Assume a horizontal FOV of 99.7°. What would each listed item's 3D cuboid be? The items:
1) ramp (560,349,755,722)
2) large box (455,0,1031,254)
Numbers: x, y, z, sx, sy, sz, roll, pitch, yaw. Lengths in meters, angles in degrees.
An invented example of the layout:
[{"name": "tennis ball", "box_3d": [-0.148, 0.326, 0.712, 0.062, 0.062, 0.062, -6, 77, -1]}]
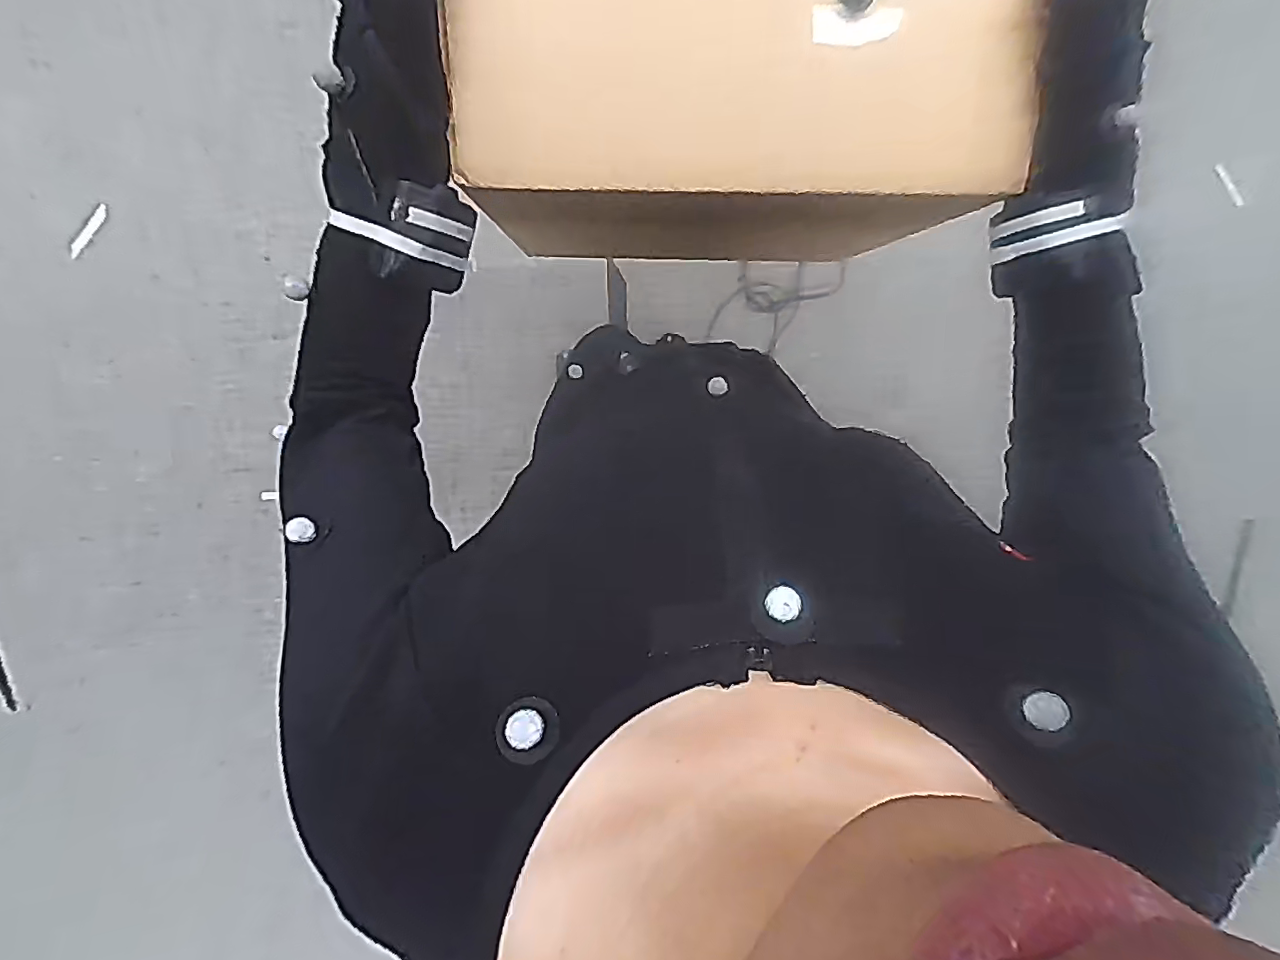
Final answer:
[{"name": "ramp", "box_3d": [0.049, 0.154, 1.474, 0.509, 0.206, 0.991, -4, 102, 0]}, {"name": "large box", "box_3d": [0.063, -0.403, 0.501, 0.408, 0.320, 0.320, -1, 104, -3]}]
